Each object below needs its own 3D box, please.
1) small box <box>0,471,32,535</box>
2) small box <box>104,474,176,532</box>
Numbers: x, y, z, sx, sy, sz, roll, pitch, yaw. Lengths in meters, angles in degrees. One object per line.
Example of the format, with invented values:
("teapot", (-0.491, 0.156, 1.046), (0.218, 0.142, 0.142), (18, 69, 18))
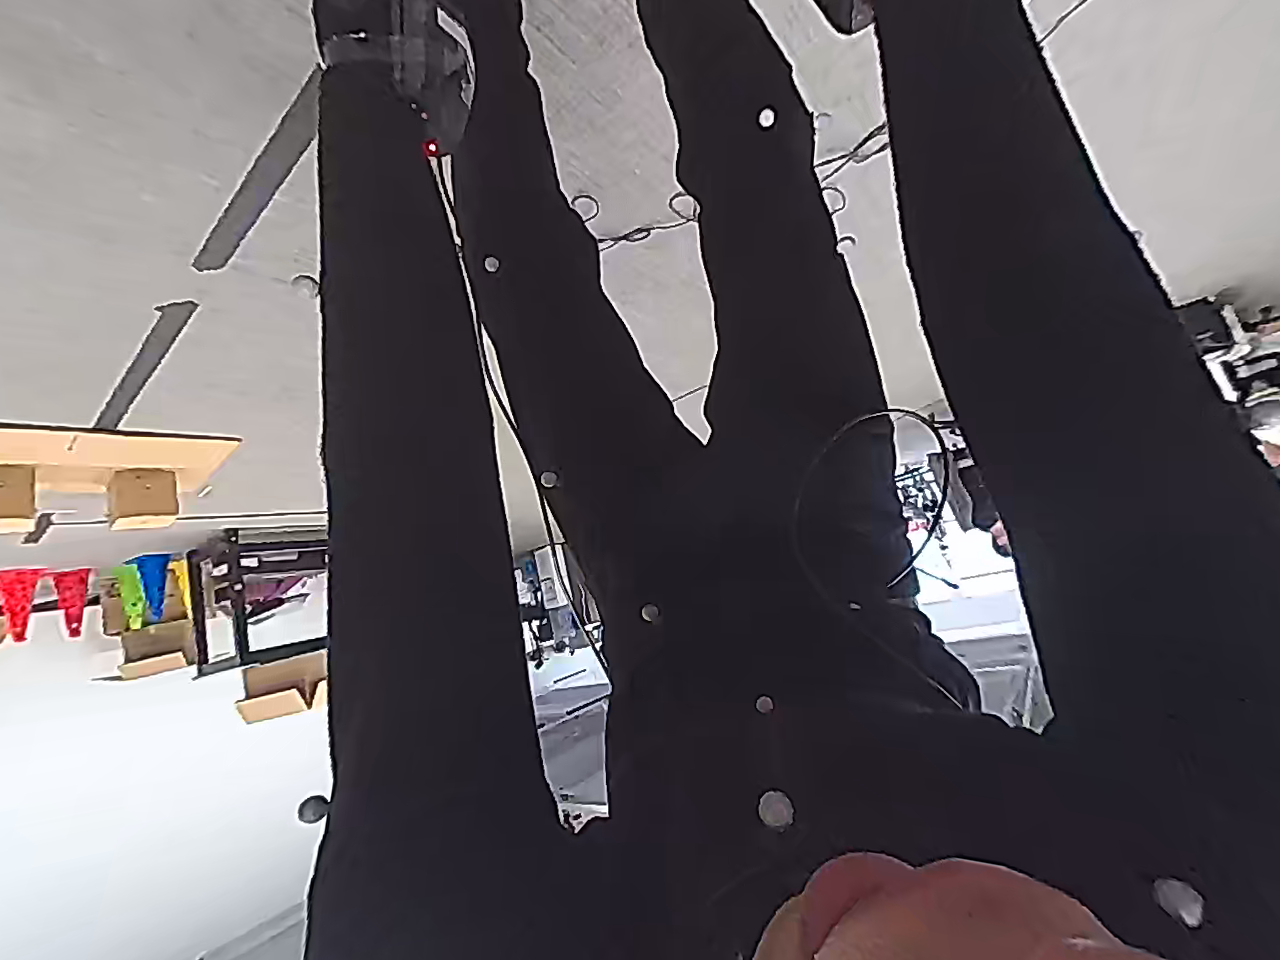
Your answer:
("small box", (-2.020, 0.074, 1.683), (0.179, 0.176, 0.168), (-23, 166, 39))
("small box", (-1.812, 0.084, 1.956), (0.179, 0.176, 0.168), (-22, 167, 36))
